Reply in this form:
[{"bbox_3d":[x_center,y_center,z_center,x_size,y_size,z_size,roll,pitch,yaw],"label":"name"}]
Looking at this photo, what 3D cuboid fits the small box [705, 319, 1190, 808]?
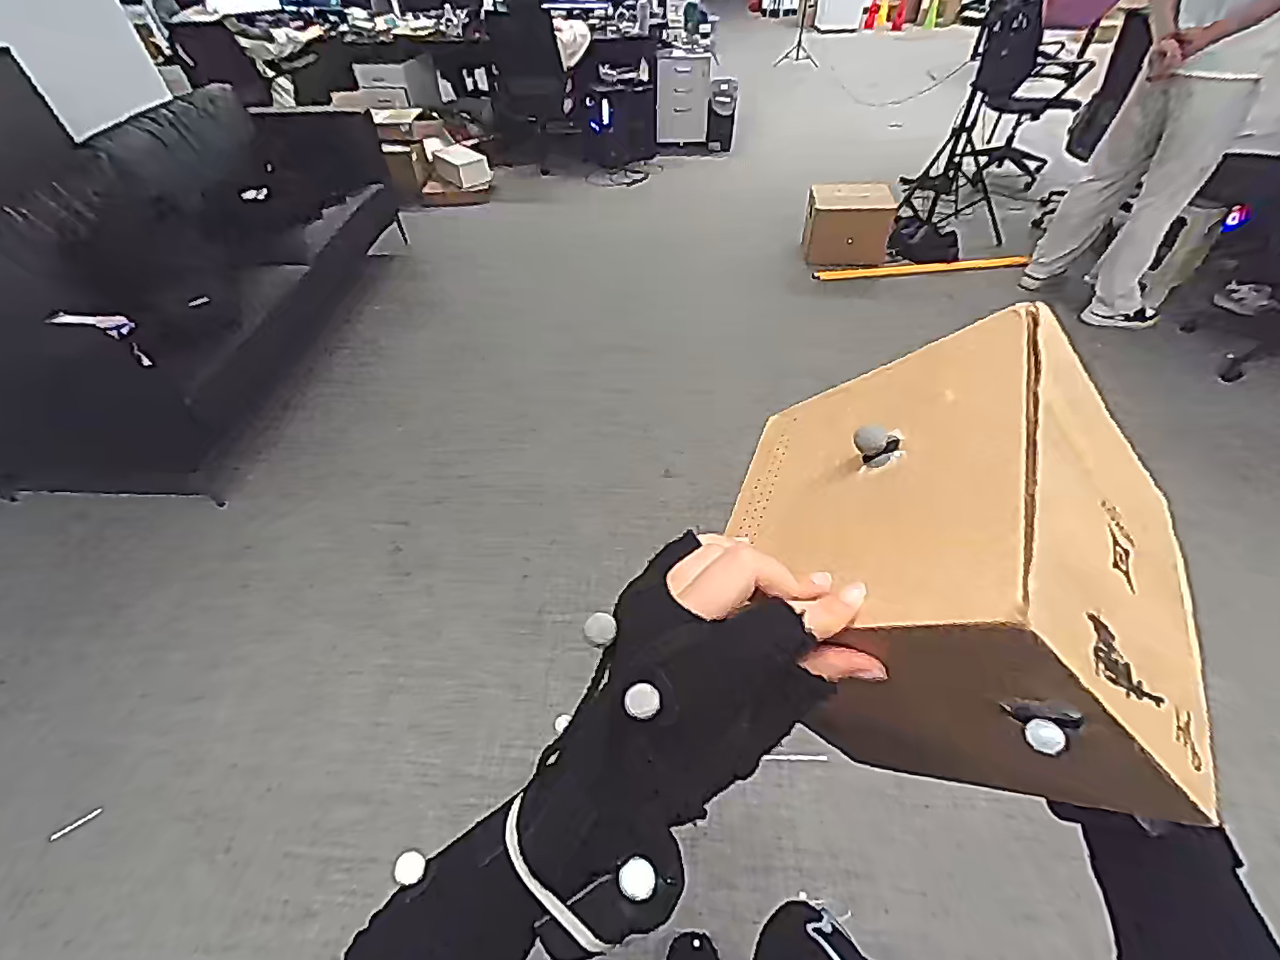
[{"bbox_3d":[0.164,0.050,0.314,0.168,0.176,0.179,40,55,-20],"label":"small box"}]
